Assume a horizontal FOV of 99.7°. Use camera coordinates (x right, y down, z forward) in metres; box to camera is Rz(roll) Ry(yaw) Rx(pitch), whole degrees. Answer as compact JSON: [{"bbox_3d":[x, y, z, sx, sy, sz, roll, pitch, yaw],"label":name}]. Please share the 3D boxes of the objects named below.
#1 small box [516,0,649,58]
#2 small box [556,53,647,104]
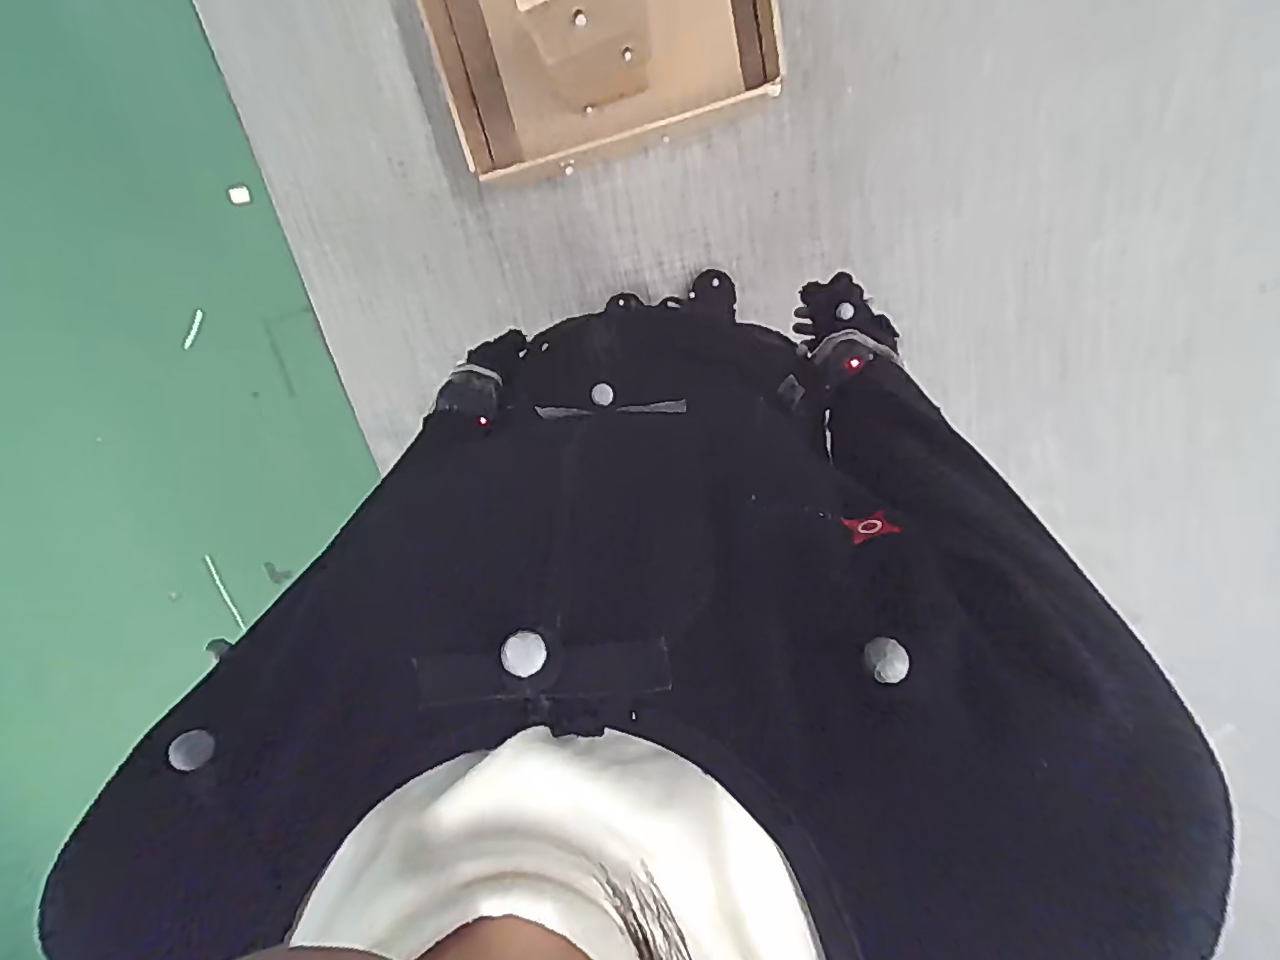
[{"bbox_3d":[-0.094,-0.718,0.724,0.179,0.176,0.168,-20,106,10],"label":"small box"},{"bbox_3d":[-0.085,-0.843,1.021,0.168,0.176,0.179,-12,109,8],"label":"small box"}]
